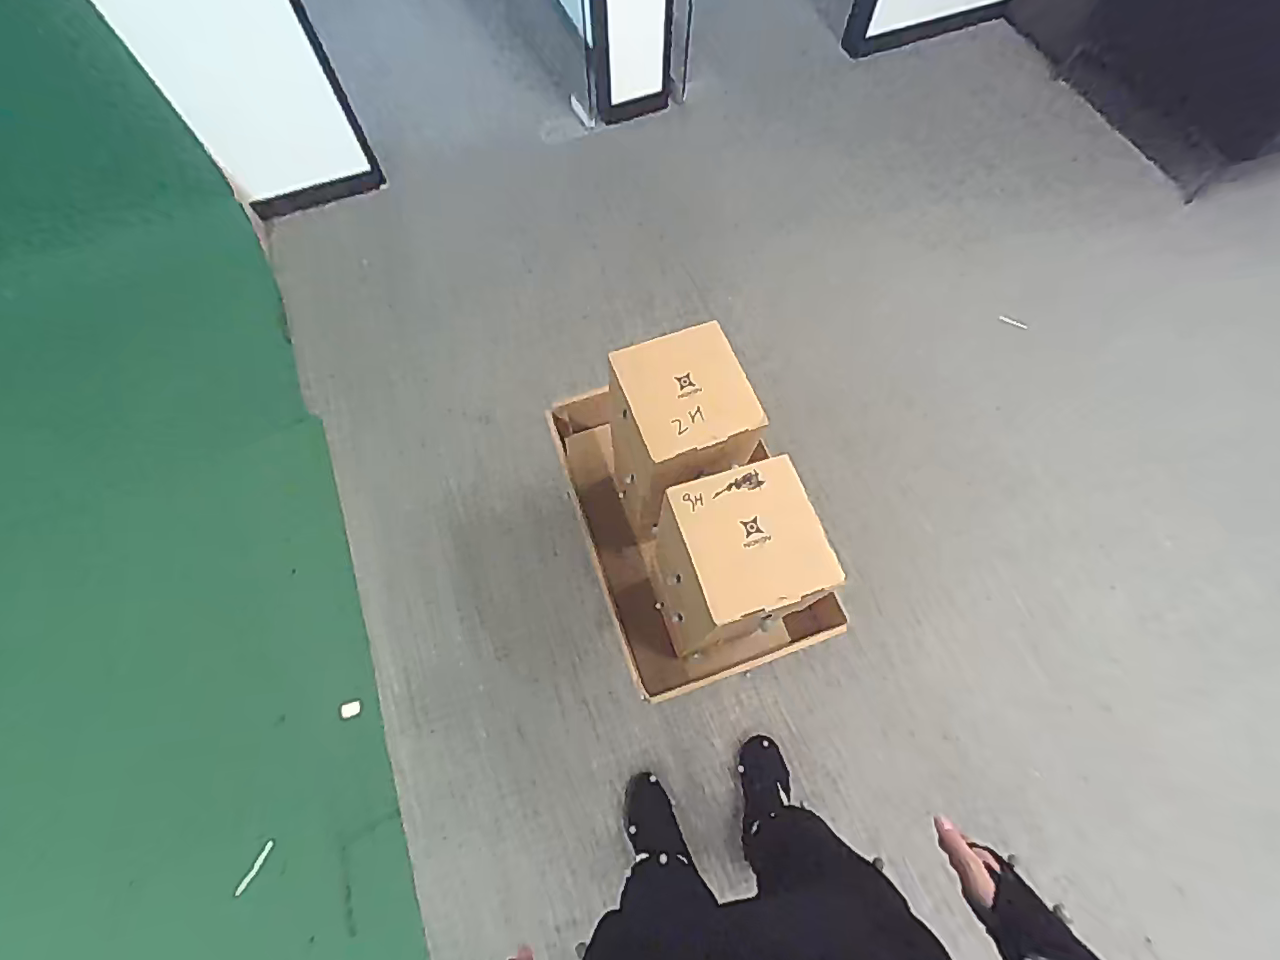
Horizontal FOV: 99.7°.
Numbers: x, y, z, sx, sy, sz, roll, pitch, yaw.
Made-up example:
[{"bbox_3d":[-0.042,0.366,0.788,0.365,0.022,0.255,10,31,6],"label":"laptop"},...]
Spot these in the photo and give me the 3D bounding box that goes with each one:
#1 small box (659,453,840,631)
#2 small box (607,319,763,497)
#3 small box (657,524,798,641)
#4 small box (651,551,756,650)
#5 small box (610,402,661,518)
[{"bbox_3d":[0.130,0.092,0.716,0.168,0.176,0.179,-16,69,-8],"label":"small box"},{"bbox_3d":[0.056,-0.099,0.798,0.168,0.176,0.179,-20,71,-7],"label":"small box"},{"bbox_3d":[0.130,0.150,0.869,0.168,0.176,0.179,-16,68,-7],"label":"small box"},{"bbox_3d":[0.125,0.211,1.020,0.168,0.176,0.179,-18,68,-7],"label":"small box"},{"bbox_3d":[0.050,-0.054,0.958,0.168,0.176,0.179,-18,71,-8],"label":"small box"}]
